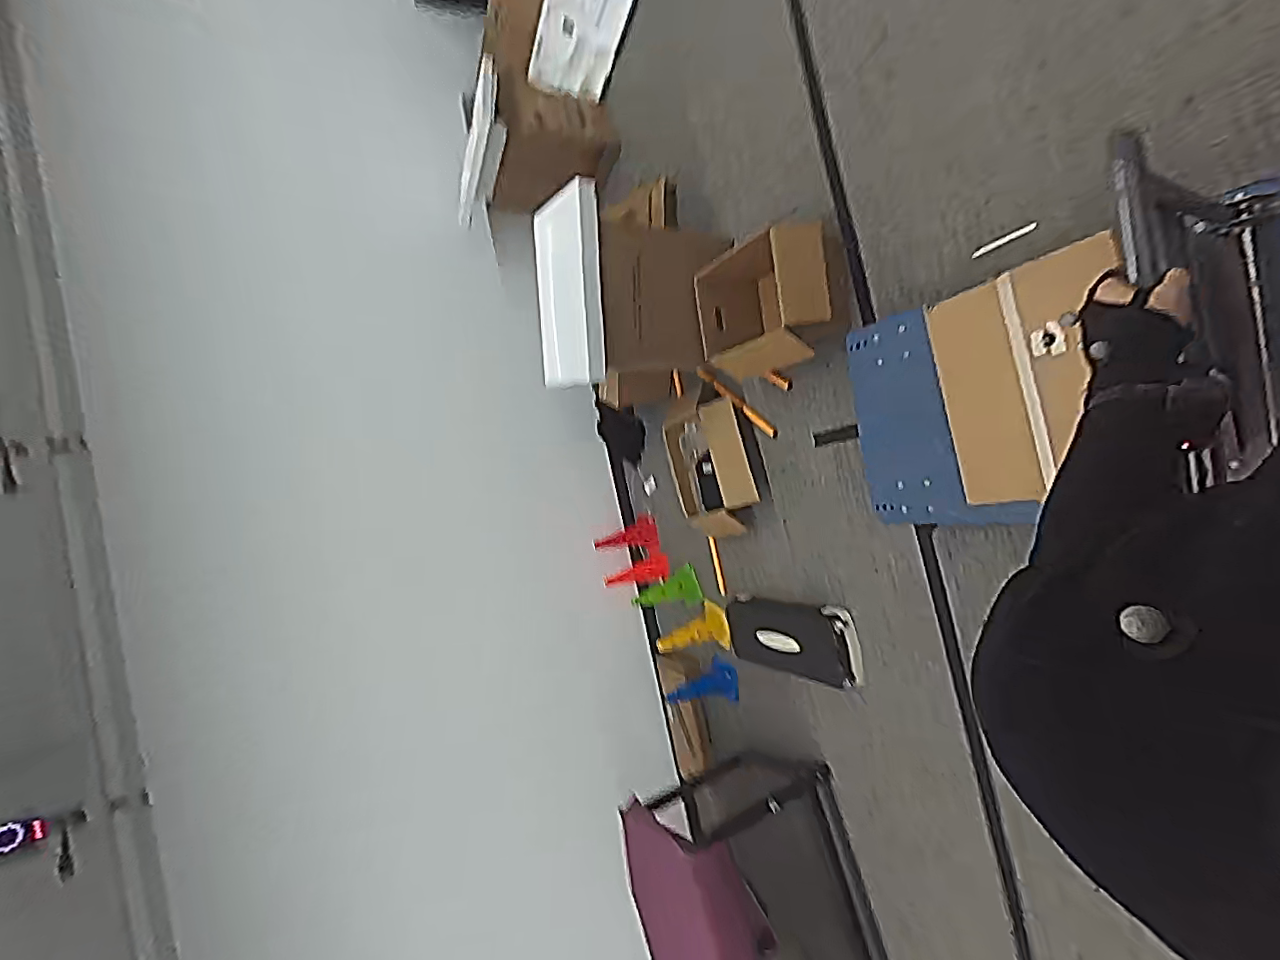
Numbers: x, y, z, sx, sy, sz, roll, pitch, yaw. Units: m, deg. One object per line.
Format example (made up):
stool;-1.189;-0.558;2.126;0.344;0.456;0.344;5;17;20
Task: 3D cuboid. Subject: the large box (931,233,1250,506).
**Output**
large box;0.822;-0.185;1.009;0.320;0.320;0.408;-17;84;61
